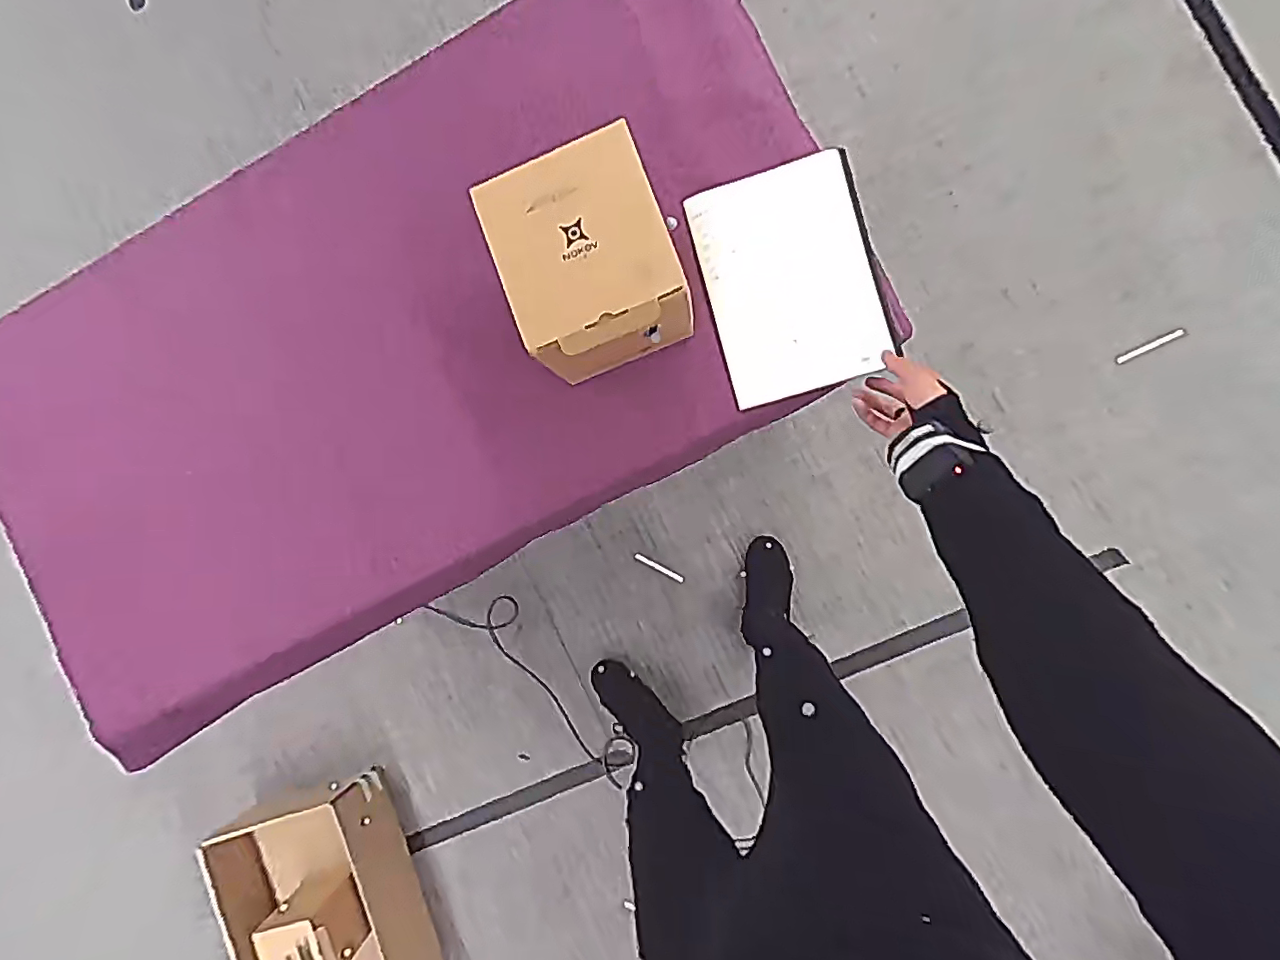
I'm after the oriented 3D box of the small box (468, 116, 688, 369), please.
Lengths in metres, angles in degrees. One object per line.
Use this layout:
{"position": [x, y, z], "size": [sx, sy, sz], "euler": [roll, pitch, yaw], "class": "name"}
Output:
{"position": [-0.052, -0.232, 0.587], "size": [0.168, 0.176, 0.179], "euler": [-21, 87, 6], "class": "small box"}
